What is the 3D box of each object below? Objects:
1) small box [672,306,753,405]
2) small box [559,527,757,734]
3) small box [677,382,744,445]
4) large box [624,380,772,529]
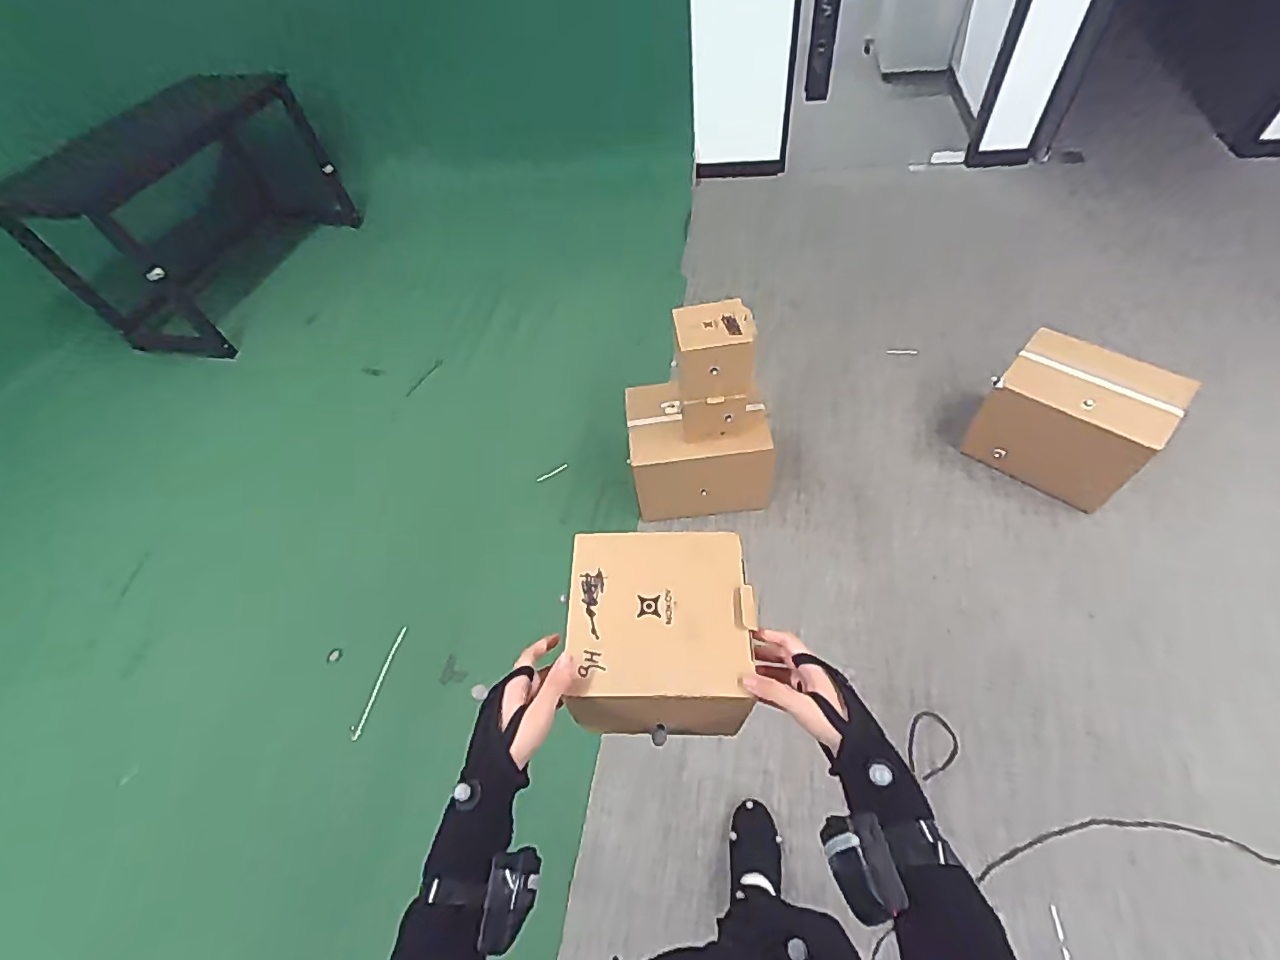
[{"bbox_3d":[0.180,-0.312,1.372,0.179,0.176,0.168,-8,53,2],"label":"small box"},{"bbox_3d":[0.018,0.166,0.580,0.179,0.176,0.168,1,53,1],"label":"small box"},{"bbox_3d":[0.194,-0.212,1.501,0.168,0.176,0.179,-6,53,3],"label":"small box"},{"bbox_3d":[0.178,-0.072,1.706,0.408,0.320,0.320,-8,52,3],"label":"large box"}]
